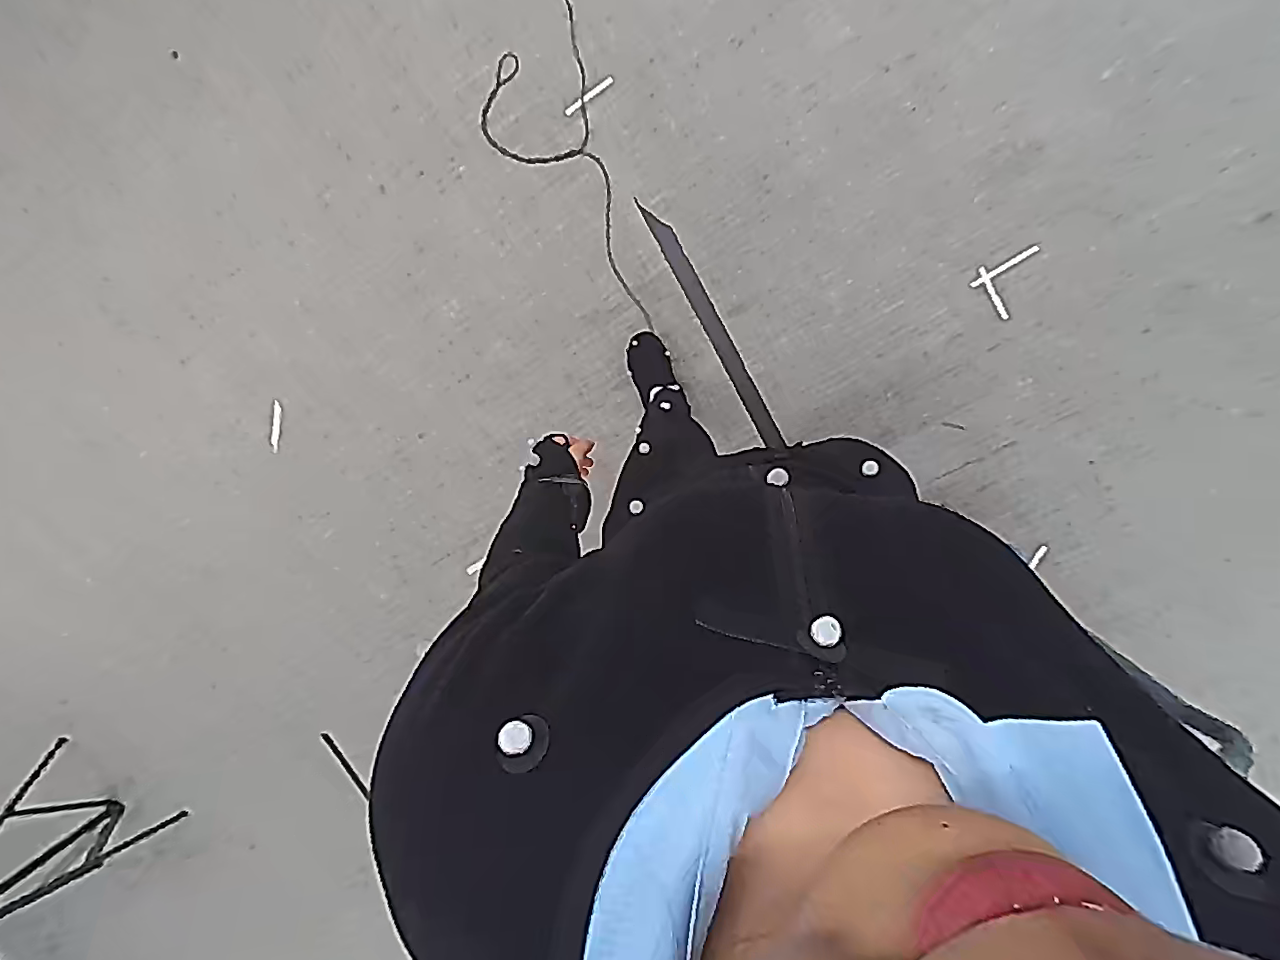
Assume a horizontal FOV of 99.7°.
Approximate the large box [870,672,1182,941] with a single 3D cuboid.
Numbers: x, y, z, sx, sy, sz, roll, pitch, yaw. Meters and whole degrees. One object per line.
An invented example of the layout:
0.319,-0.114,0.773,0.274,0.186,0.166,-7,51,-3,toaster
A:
0.787,0.688,1.175,0.408,0.320,0.320,-26,97,14,large box
